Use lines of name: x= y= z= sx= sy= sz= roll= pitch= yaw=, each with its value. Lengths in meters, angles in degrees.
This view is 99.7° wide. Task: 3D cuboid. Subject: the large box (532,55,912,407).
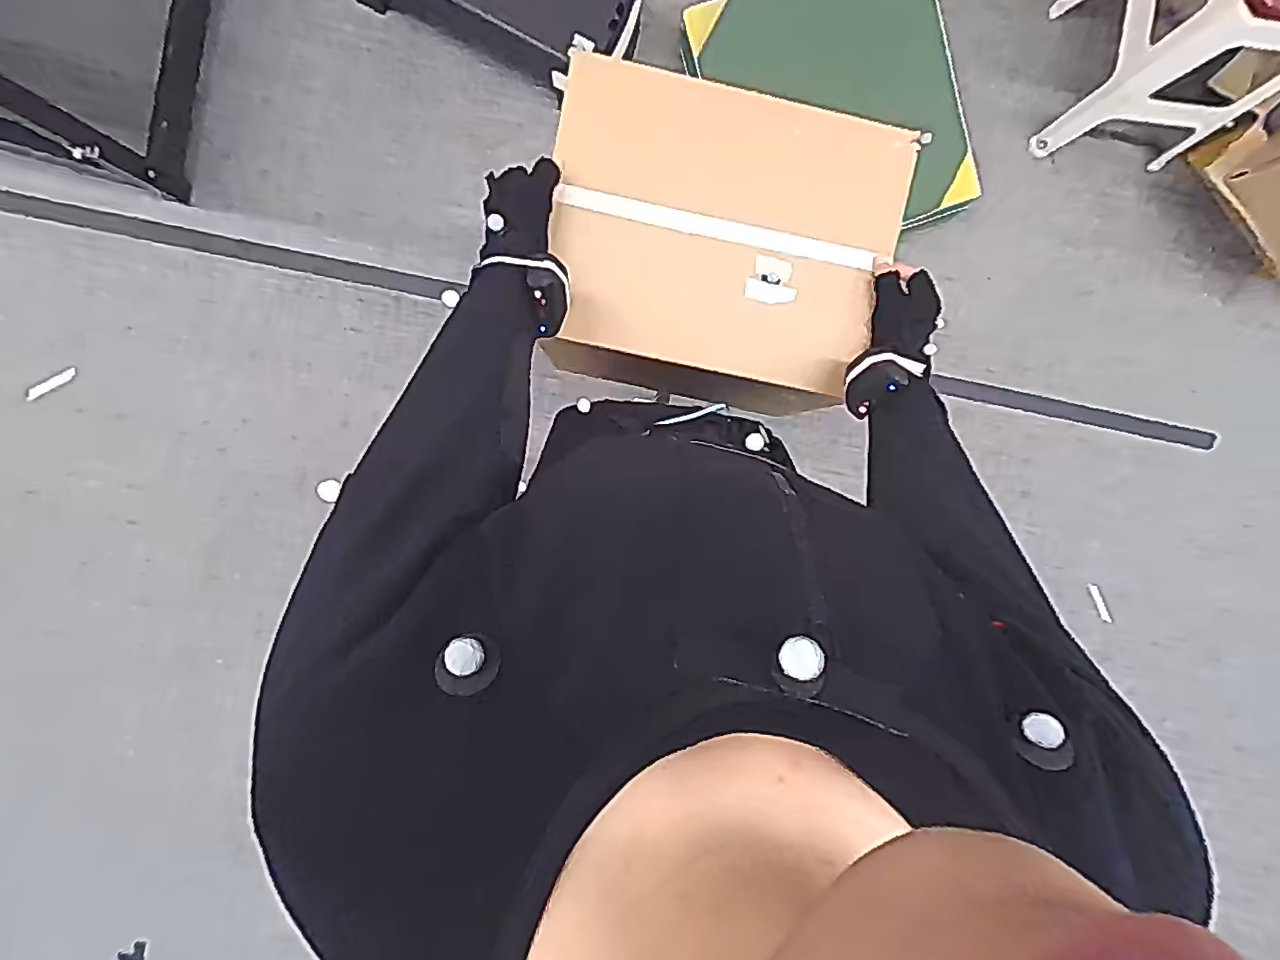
large box: x=0.087 y=-0.302 z=0.774 sx=0.408 sy=0.320 sz=0.320 roll=12 pitch=94 yaw=-4
